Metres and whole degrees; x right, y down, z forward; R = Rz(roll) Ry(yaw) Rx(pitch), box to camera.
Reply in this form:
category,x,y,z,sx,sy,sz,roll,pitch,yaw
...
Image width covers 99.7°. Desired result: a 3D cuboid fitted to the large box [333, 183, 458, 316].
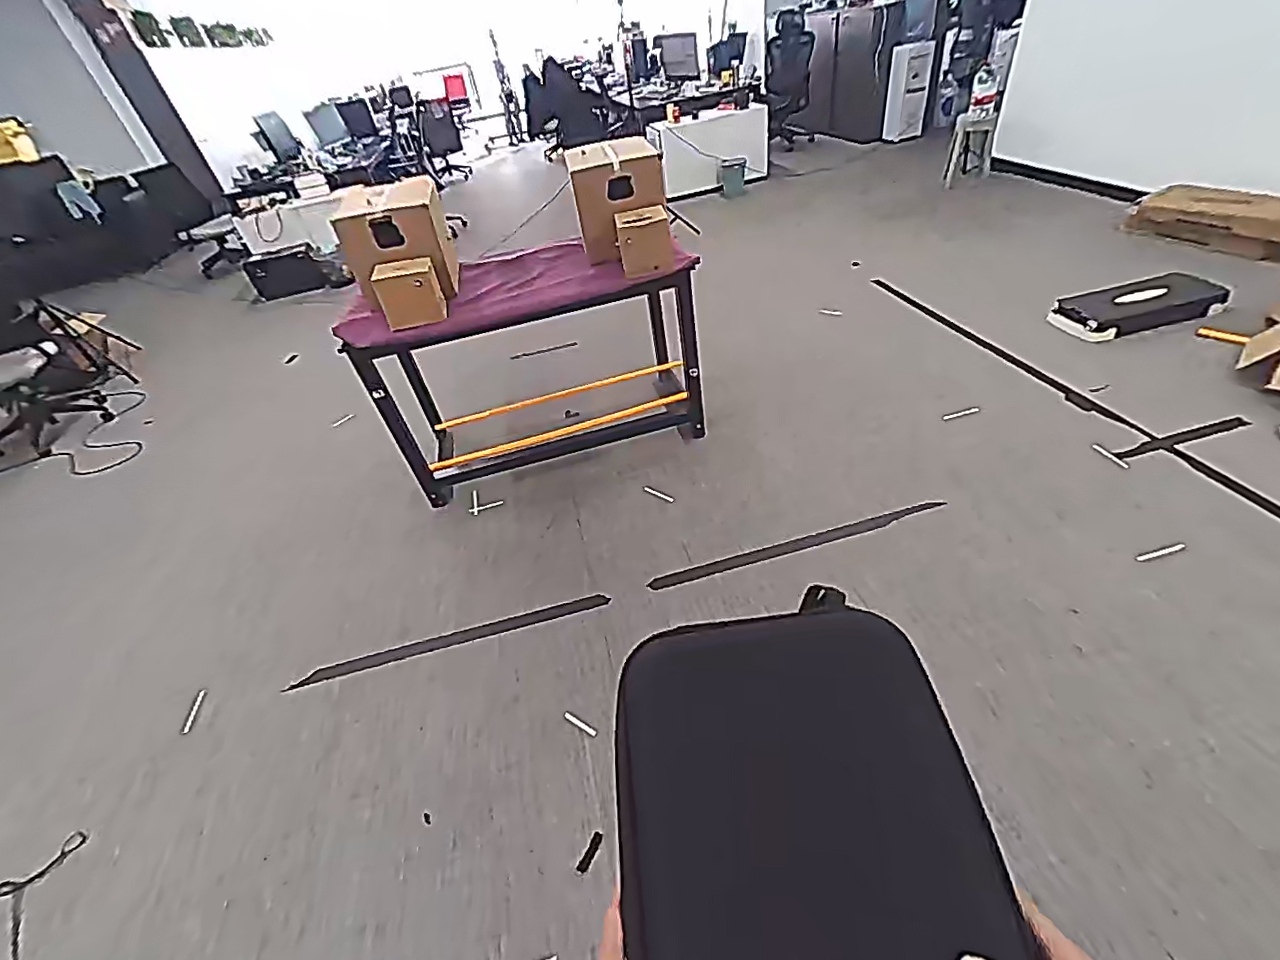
category,x,y,z,sx,sy,sz,roll,pitch,yaw
large box,-0.870,-0.852,1.982,0.320,0.320,0.408,-15,43,-6
